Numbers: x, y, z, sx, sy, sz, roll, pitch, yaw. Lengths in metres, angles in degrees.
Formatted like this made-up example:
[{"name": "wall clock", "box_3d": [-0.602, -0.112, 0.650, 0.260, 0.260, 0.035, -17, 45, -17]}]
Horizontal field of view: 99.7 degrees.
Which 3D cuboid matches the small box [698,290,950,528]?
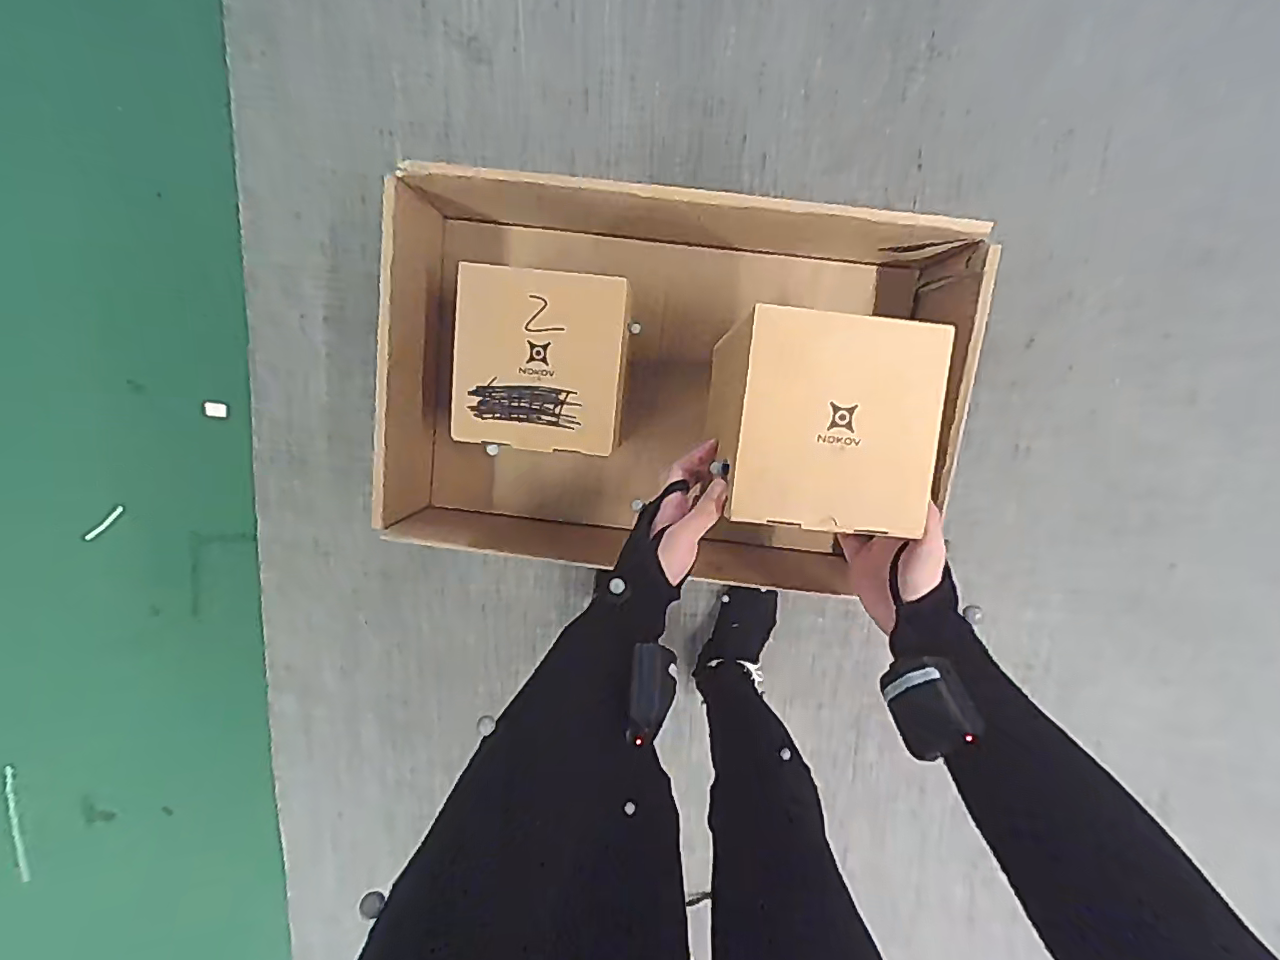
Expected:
[{"name": "small box", "box_3d": [0.153, -0.060, 0.509, 0.168, 0.176, 0.179, 5, 95, -3]}]
